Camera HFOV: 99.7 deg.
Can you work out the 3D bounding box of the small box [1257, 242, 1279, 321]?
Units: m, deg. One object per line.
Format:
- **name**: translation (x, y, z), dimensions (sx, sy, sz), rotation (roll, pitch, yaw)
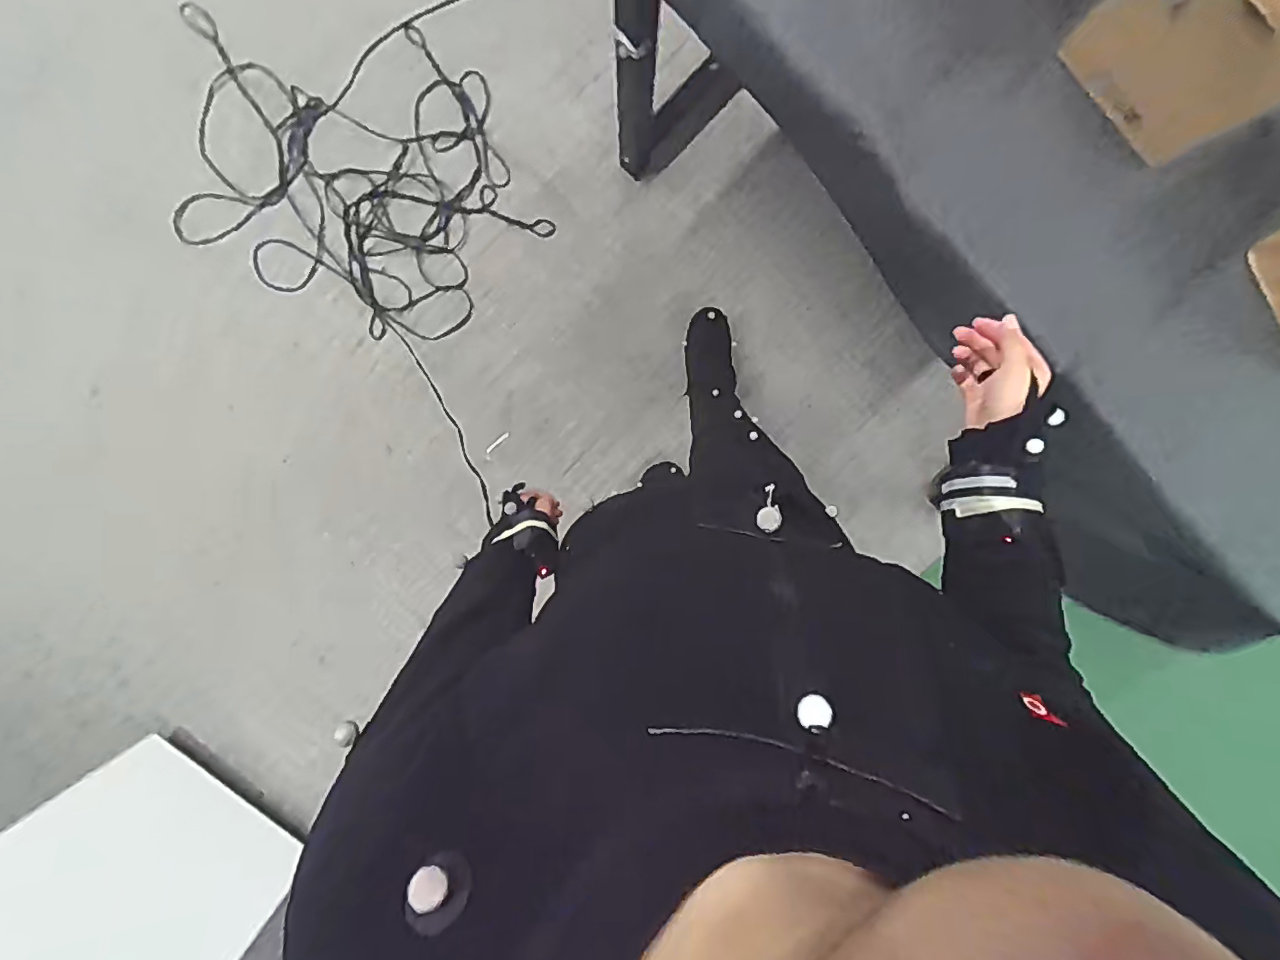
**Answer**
- **small box**: translation (0.798, -0.217, 0.528), dimensions (0.179, 0.176, 0.168), rotation (-33, 96, 3)
